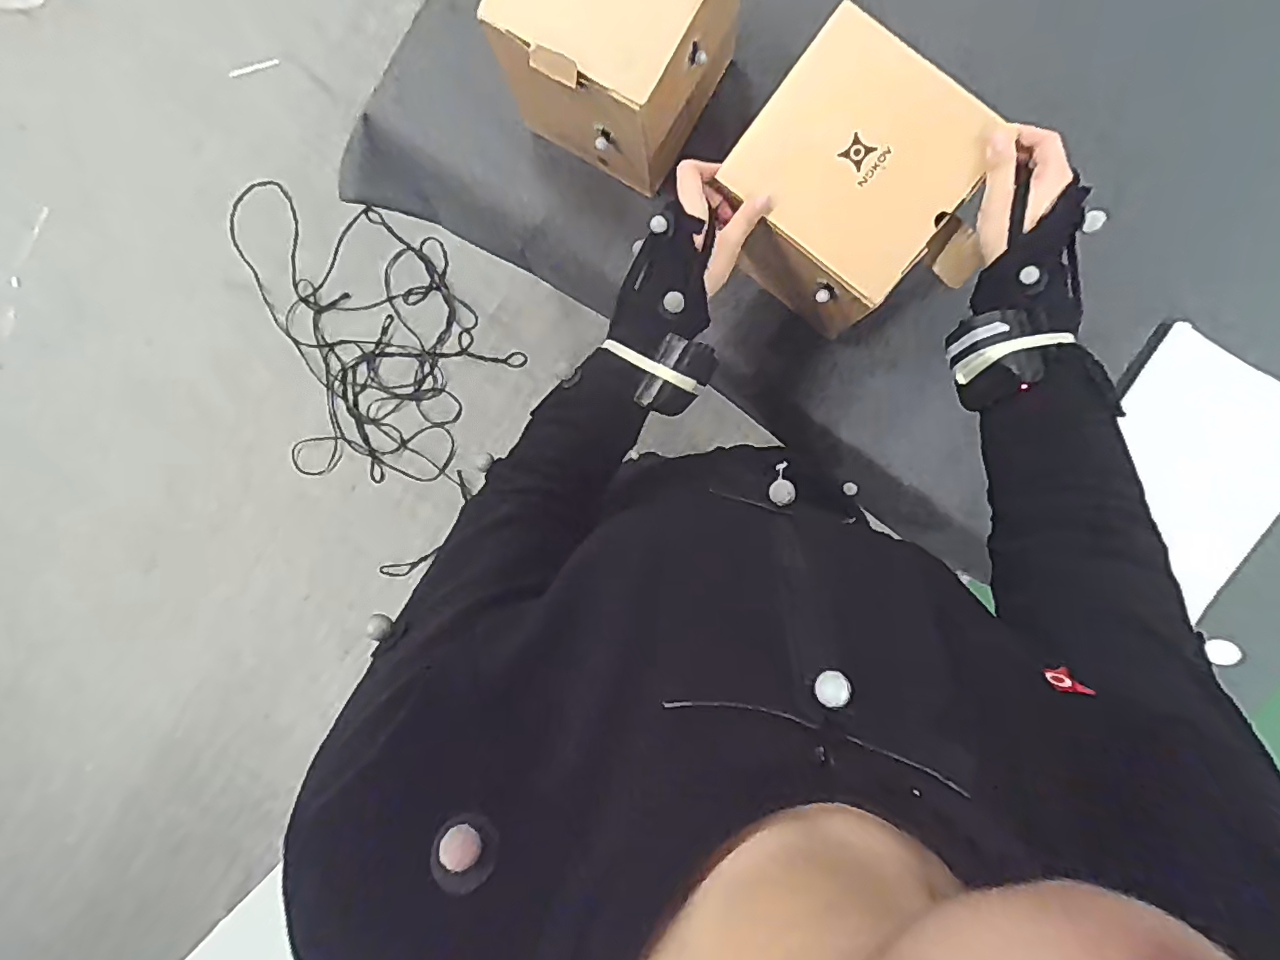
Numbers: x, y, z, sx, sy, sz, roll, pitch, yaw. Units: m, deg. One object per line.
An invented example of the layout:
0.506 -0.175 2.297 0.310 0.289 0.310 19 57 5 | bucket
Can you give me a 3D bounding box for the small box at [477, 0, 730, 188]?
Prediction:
-0.019 -0.426 0.519 0.168 0.176 0.179 31 95 2 | small box
